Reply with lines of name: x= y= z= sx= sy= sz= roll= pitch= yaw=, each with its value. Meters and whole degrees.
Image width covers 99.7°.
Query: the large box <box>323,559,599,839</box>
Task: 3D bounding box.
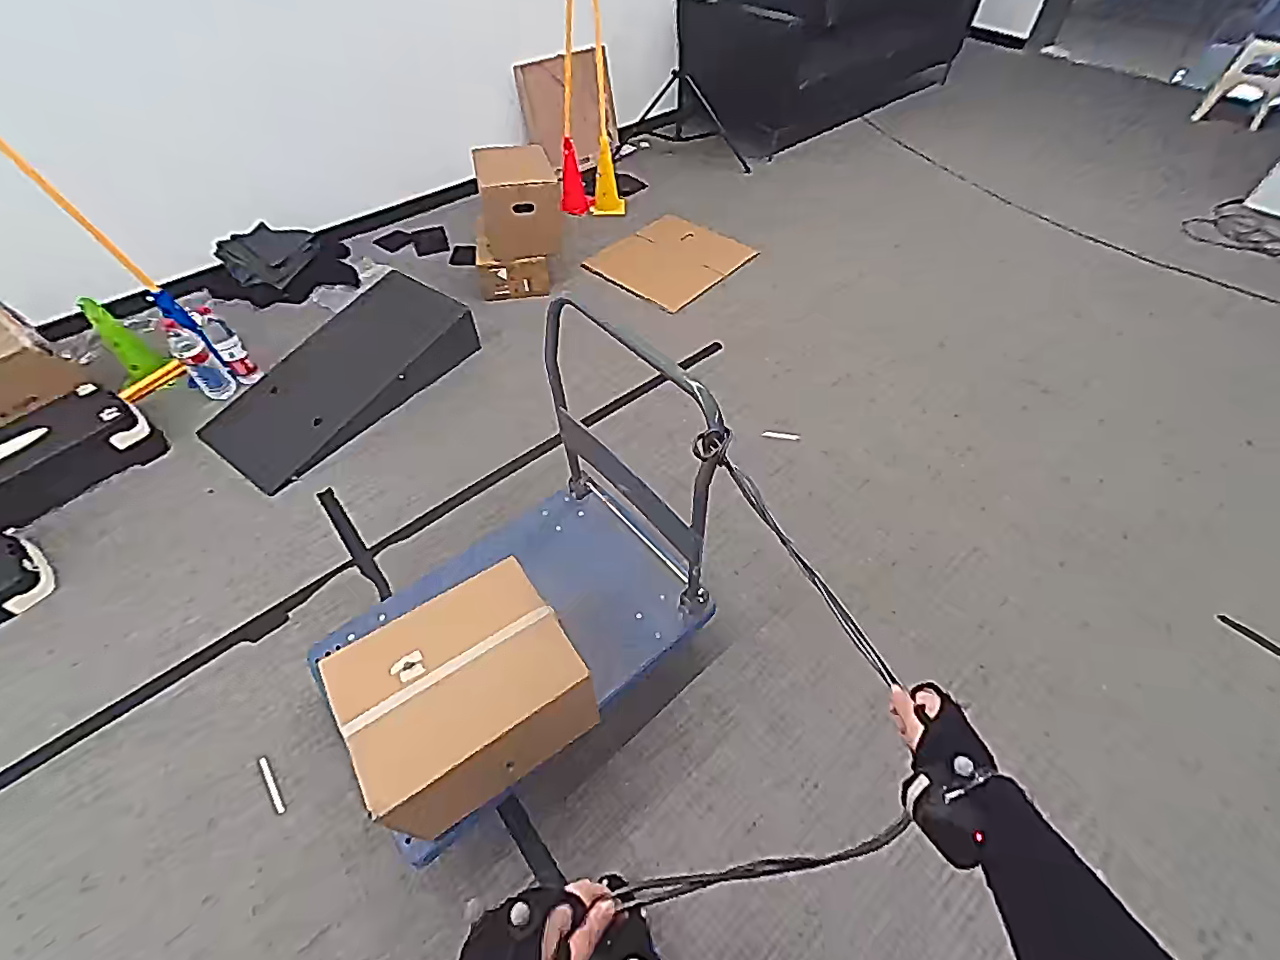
large box: x=-0.337 y=0.442 z=1.106 sx=0.408 sy=0.320 sz=0.320 roll=-29 pitch=56 yaw=-21
